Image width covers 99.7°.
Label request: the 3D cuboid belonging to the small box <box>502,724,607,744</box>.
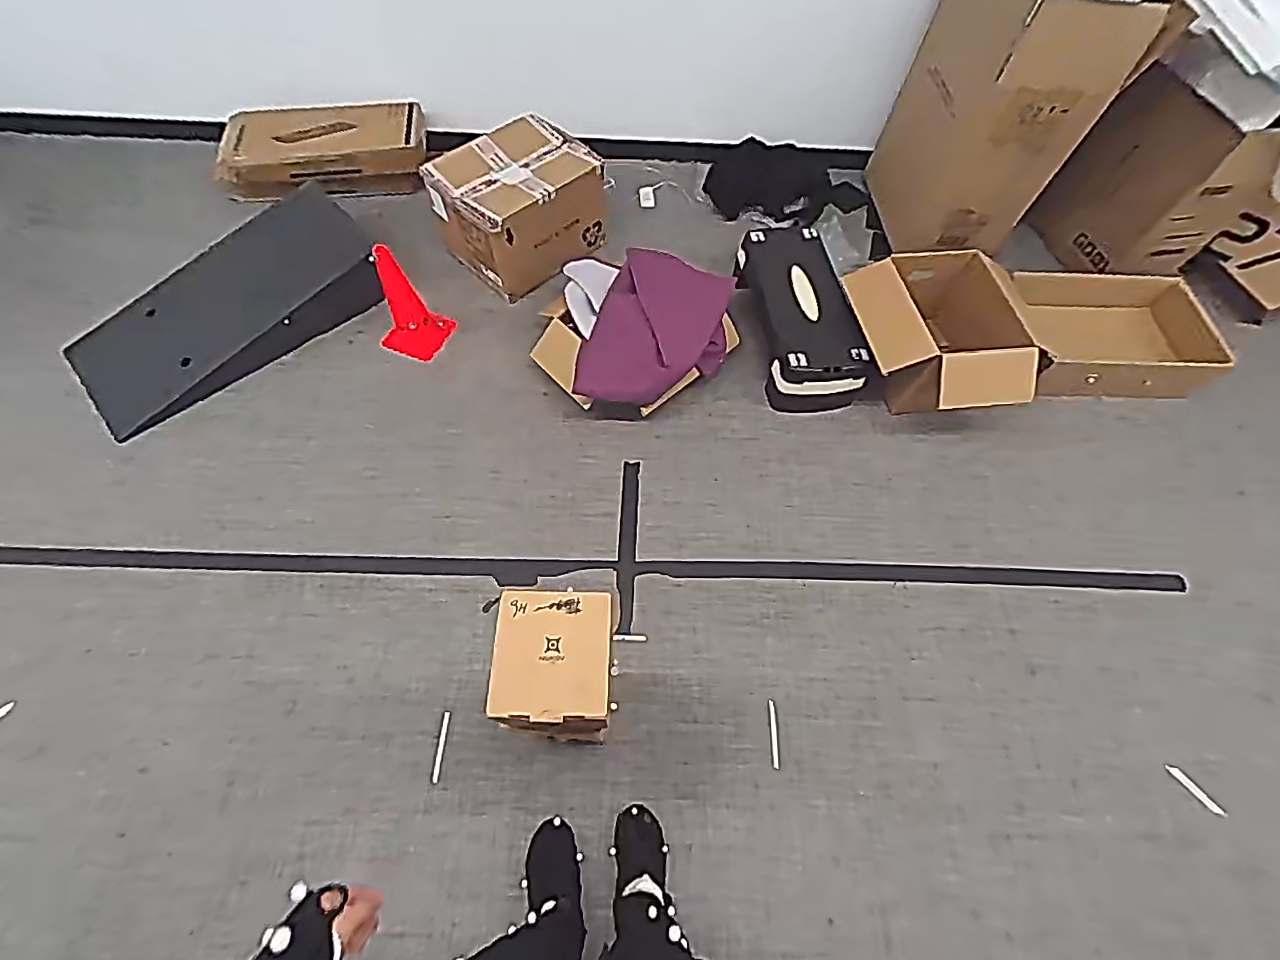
[{"bbox_3d":[-0.136,0.369,0.973,0.168,0.176,0.179,5,63,1],"label":"small box"}]

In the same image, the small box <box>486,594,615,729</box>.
[{"bbox_3d":[-0.125,0.284,0.832,0.168,0.176,0.179,2,62,-1],"label":"small box"}]
